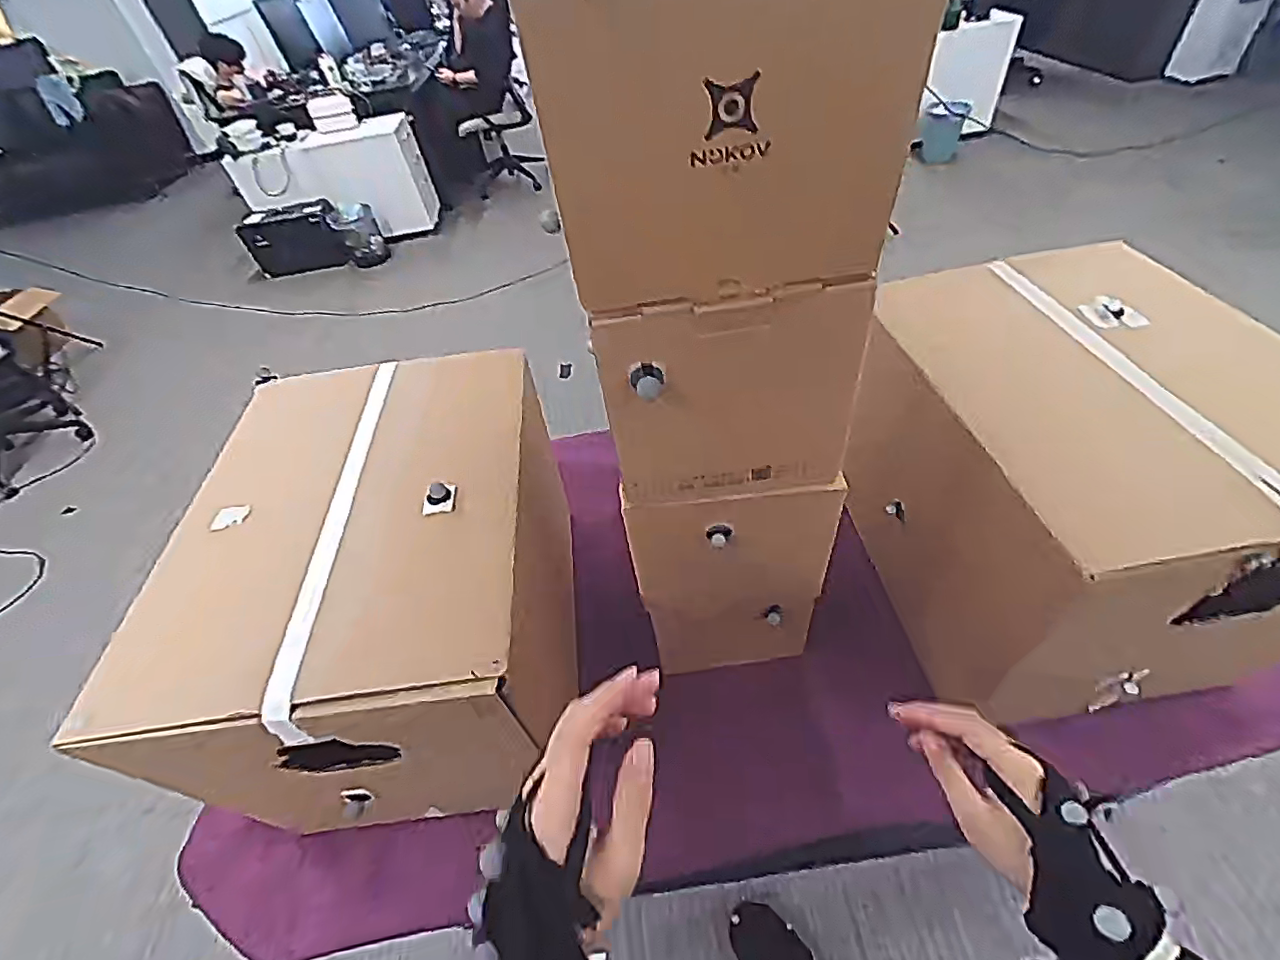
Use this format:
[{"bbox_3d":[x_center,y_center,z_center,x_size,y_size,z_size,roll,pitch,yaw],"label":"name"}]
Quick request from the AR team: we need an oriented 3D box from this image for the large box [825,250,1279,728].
[{"bbox_3d":[0.440,-0.001,0.605,0.320,0.320,0.408,-10,46,0],"label":"large box"}]
